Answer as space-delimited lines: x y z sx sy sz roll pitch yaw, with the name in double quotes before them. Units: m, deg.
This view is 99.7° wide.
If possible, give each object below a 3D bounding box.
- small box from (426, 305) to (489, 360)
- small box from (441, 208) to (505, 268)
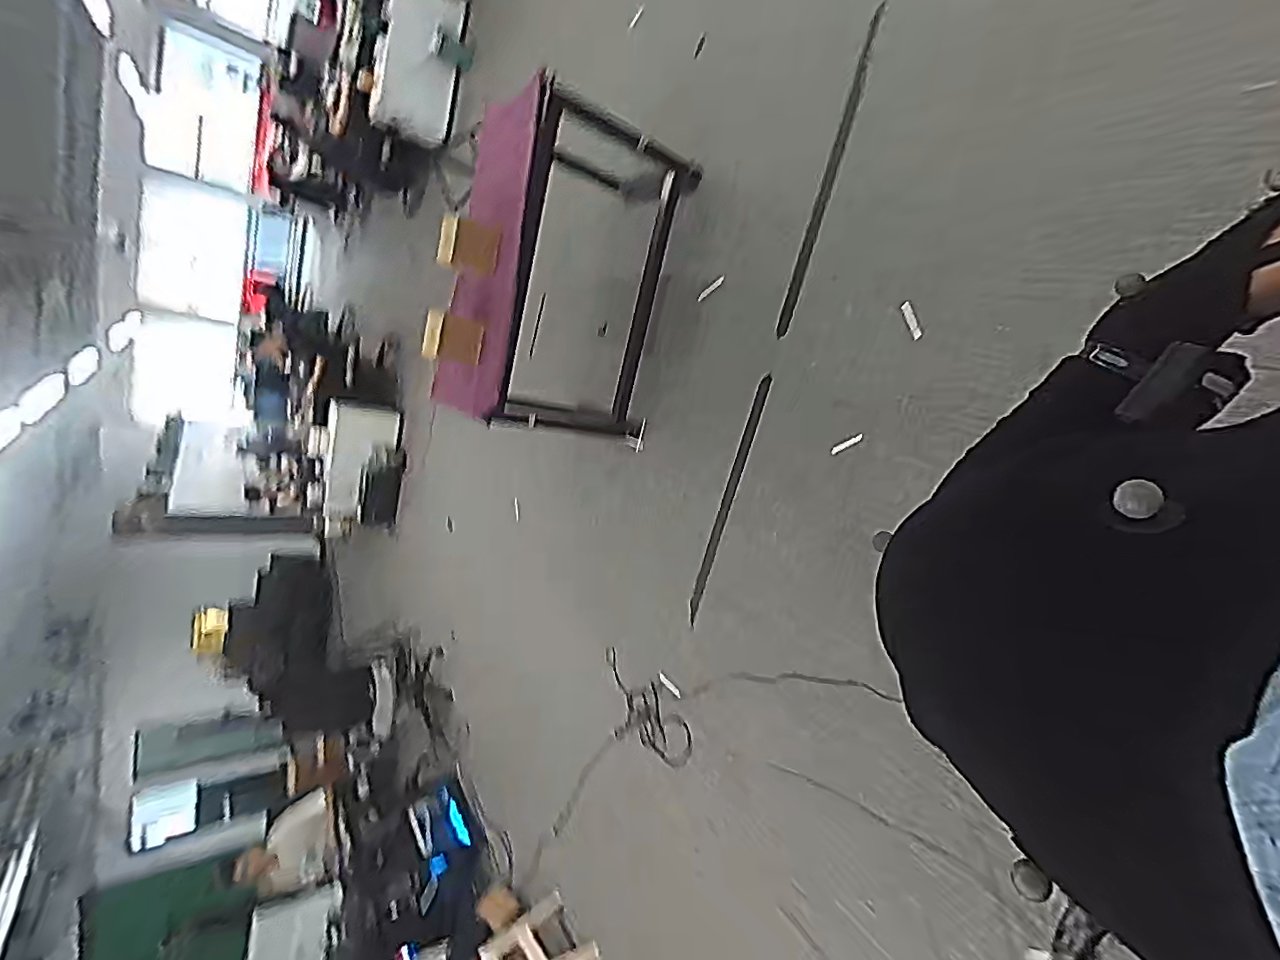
"small box" -0.718 -0.578 2.125 0.179 0.176 0.168 26 106 48
"small box" -0.637 -0.915 2.055 0.179 0.176 0.168 27 108 48
